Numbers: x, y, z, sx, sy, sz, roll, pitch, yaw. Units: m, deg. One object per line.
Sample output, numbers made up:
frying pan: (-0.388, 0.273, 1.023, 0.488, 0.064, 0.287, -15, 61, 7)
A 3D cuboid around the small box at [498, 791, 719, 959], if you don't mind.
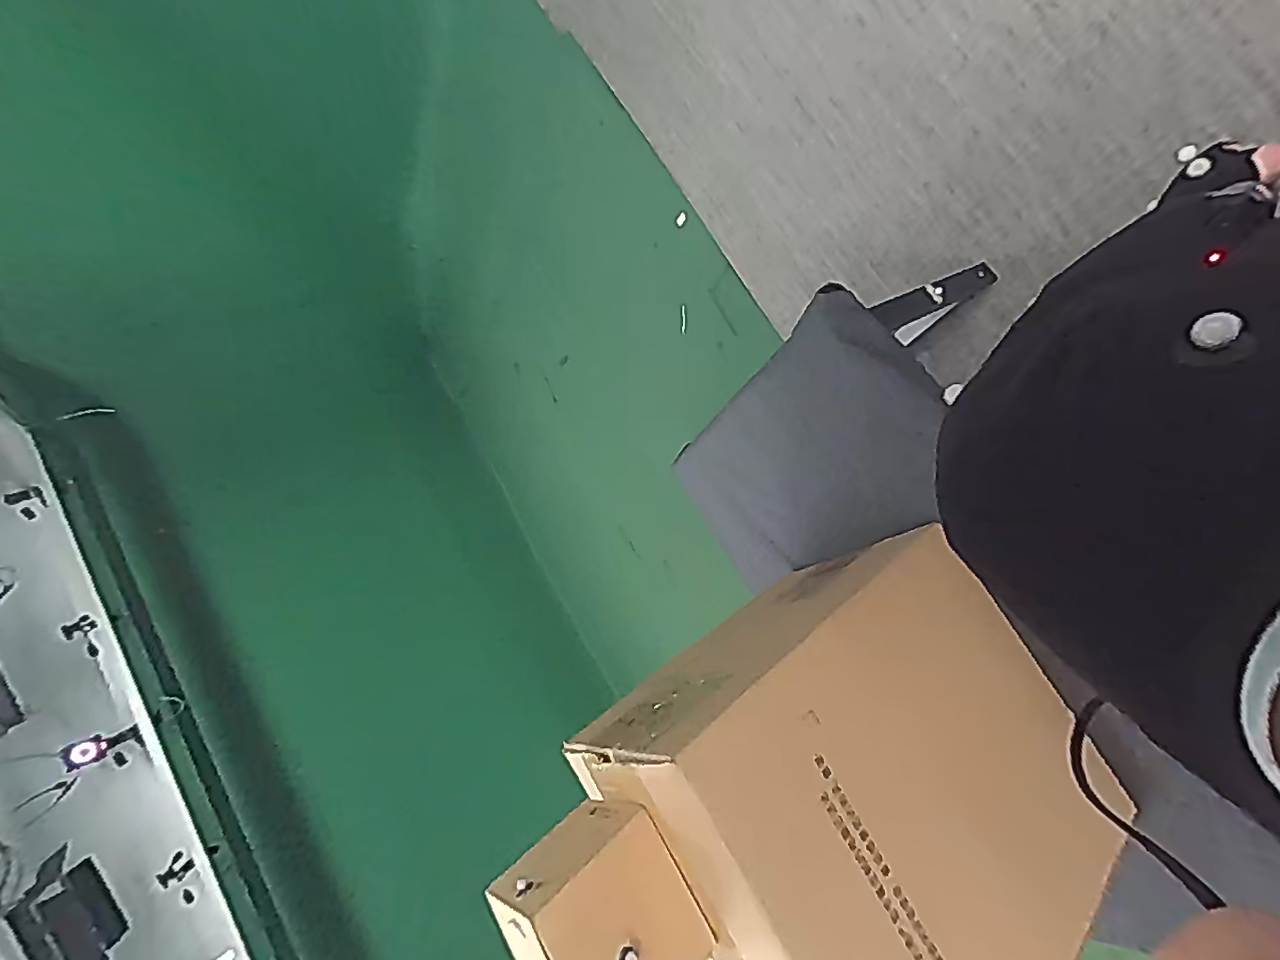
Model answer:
small box: (-0.037, 0.516, 0.652, 0.179, 0.176, 0.168, 59, 141, 7)
